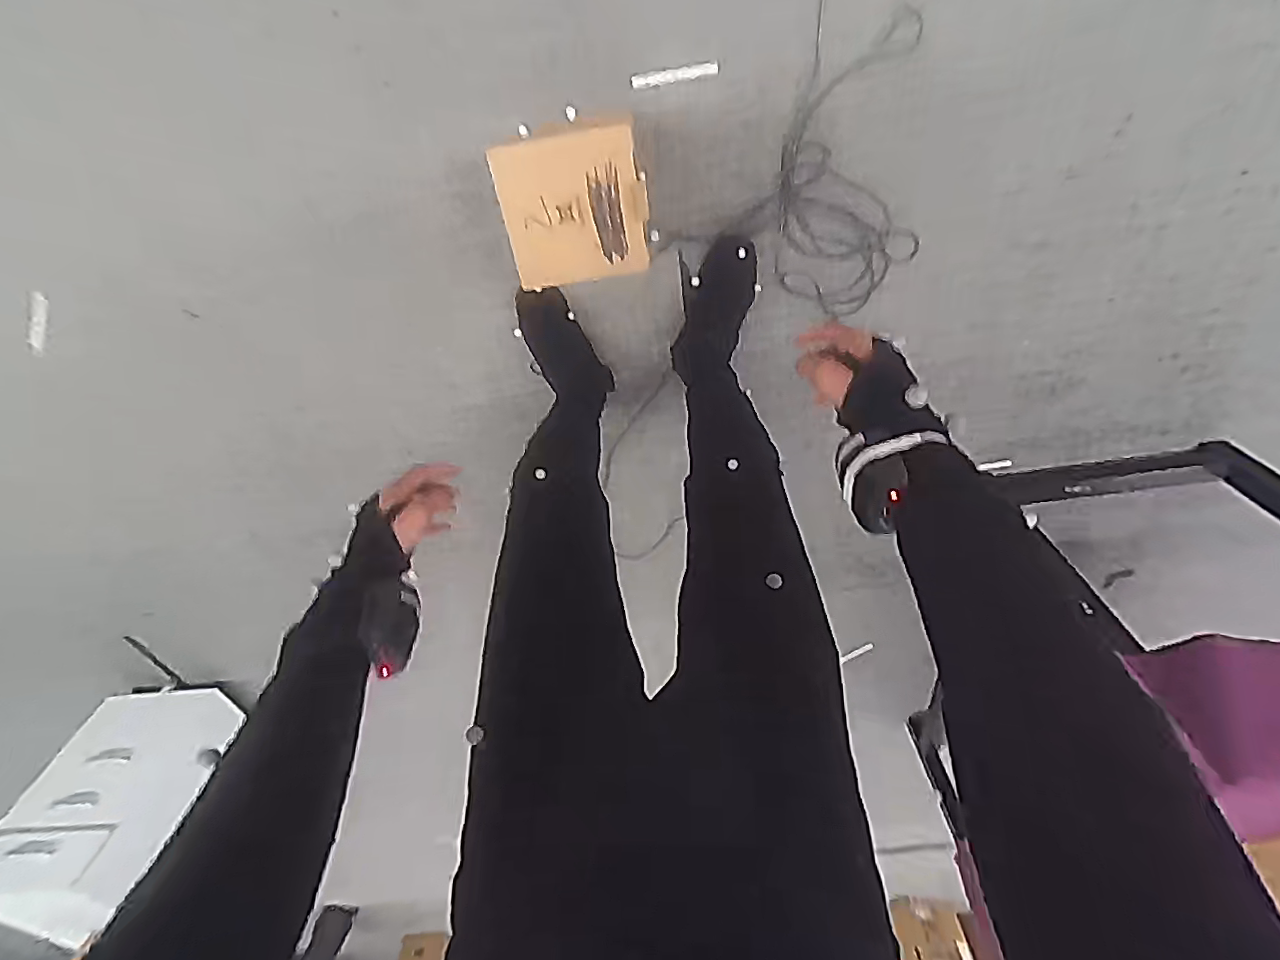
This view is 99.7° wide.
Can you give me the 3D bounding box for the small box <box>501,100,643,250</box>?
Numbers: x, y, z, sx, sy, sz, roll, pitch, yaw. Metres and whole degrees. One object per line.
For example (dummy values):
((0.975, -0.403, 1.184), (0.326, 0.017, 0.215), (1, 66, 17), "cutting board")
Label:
((-0.093, -0.478, 0.845), (0.179, 0.176, 0.168), (-8, 127, 6), "small box")
